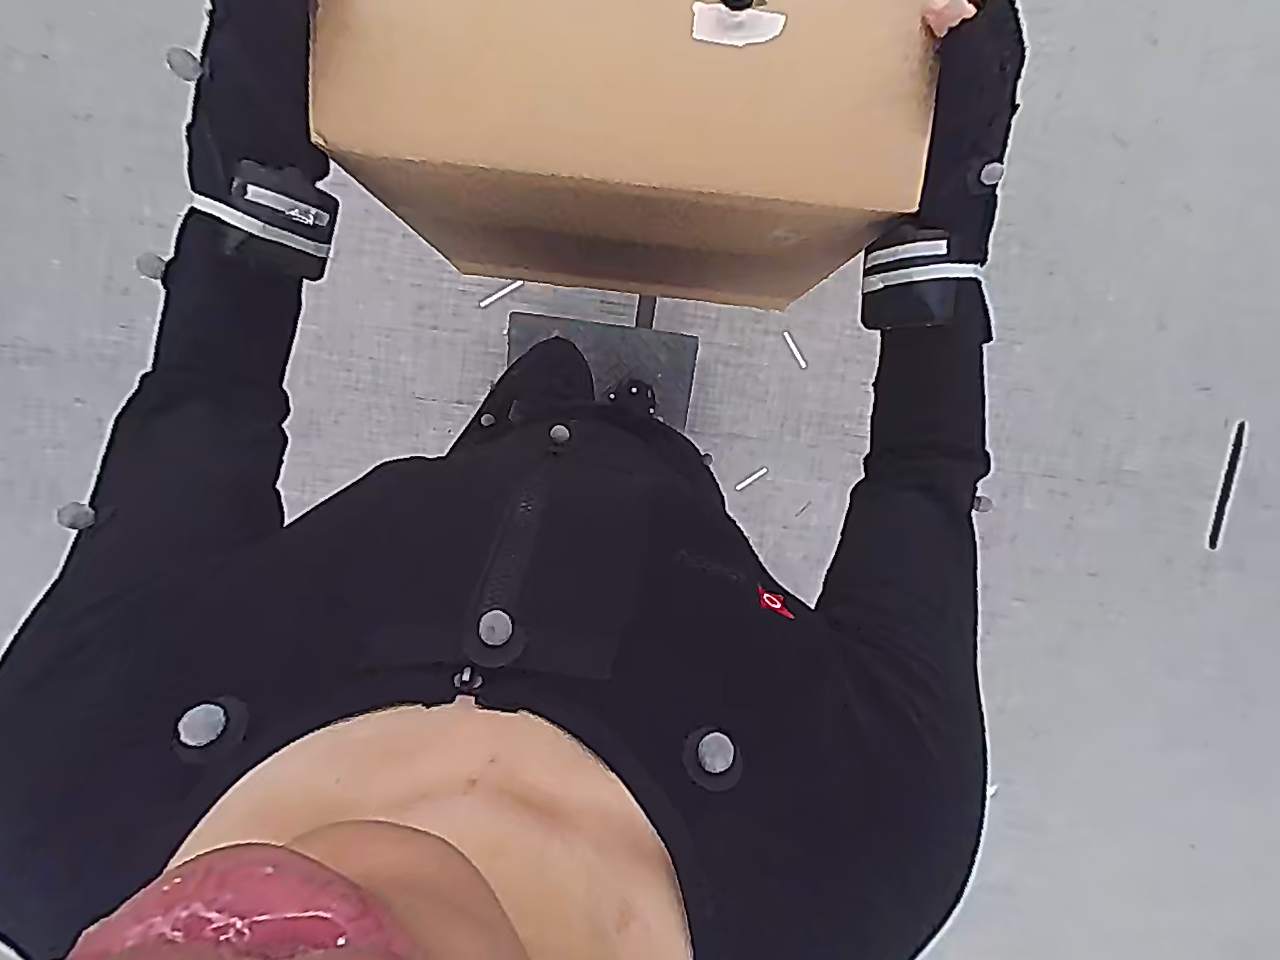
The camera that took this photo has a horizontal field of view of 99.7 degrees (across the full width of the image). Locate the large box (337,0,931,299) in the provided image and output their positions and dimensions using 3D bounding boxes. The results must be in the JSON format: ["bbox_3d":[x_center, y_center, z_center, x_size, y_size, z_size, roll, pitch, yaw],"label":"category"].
[{"bbox_3d":[-0.002,-0.376,0.507,0.408,0.320,0.320,5,96,-2],"label":"large box"}]
